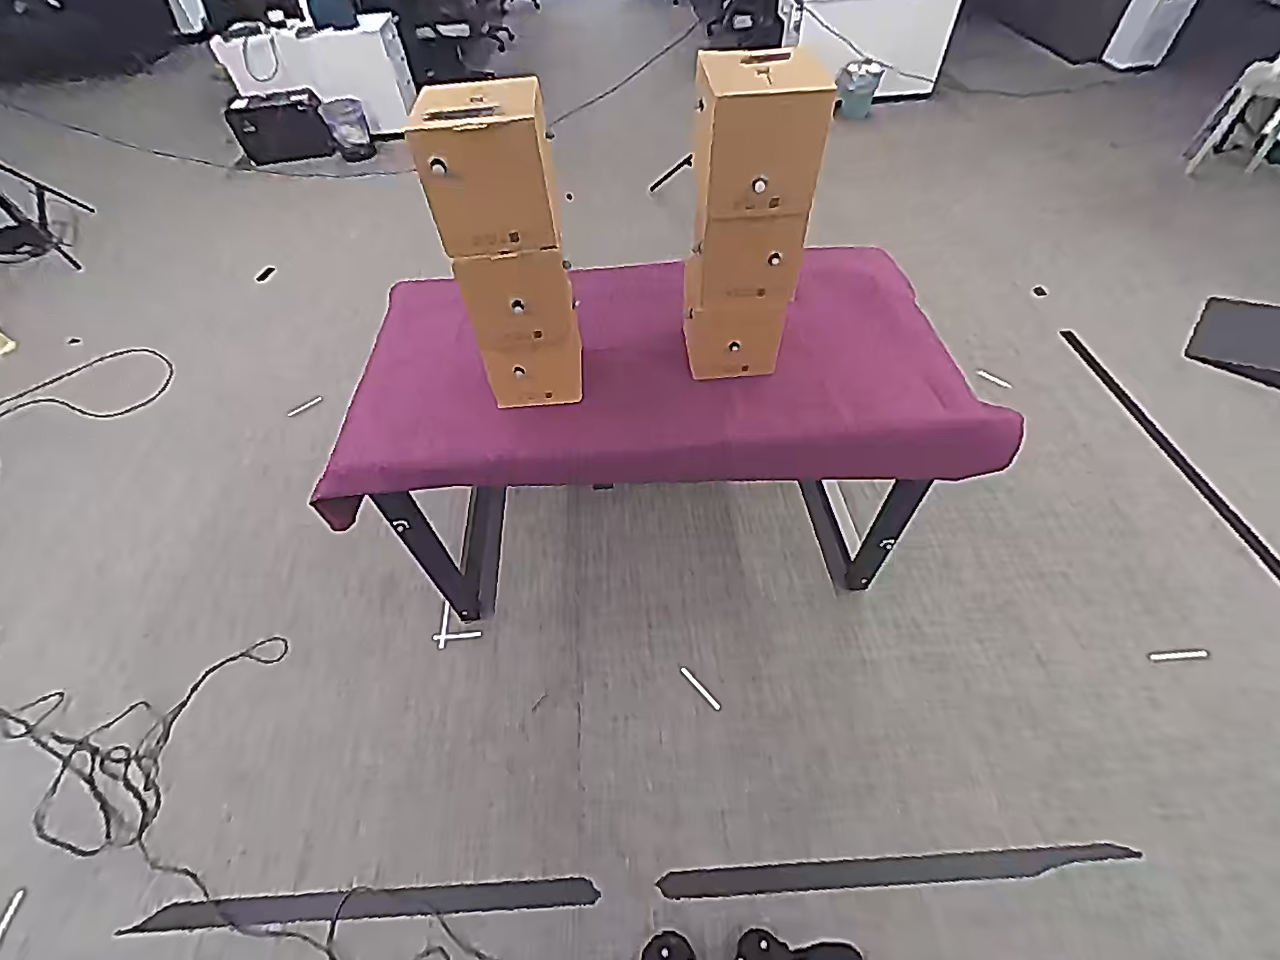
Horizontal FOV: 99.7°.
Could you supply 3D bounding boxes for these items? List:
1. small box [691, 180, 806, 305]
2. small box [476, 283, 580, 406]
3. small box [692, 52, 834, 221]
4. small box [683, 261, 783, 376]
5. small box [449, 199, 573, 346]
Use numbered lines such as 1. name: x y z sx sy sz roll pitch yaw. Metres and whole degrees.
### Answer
1. small box: 0.181 -0.425 0.956 0.168 0.176 0.179 -3 52 0
2. small box: -0.209 -0.259 1.057 0.168 0.176 0.179 -5 52 -1
3. small box: 0.171 -0.518 0.820 0.168 0.176 0.179 -4 54 -1
4. small box: 0.176 -0.322 1.082 0.168 0.176 0.179 -4 52 -1
5. small box: -0.211 -0.342 0.915 0.168 0.176 0.179 -9 53 -4
